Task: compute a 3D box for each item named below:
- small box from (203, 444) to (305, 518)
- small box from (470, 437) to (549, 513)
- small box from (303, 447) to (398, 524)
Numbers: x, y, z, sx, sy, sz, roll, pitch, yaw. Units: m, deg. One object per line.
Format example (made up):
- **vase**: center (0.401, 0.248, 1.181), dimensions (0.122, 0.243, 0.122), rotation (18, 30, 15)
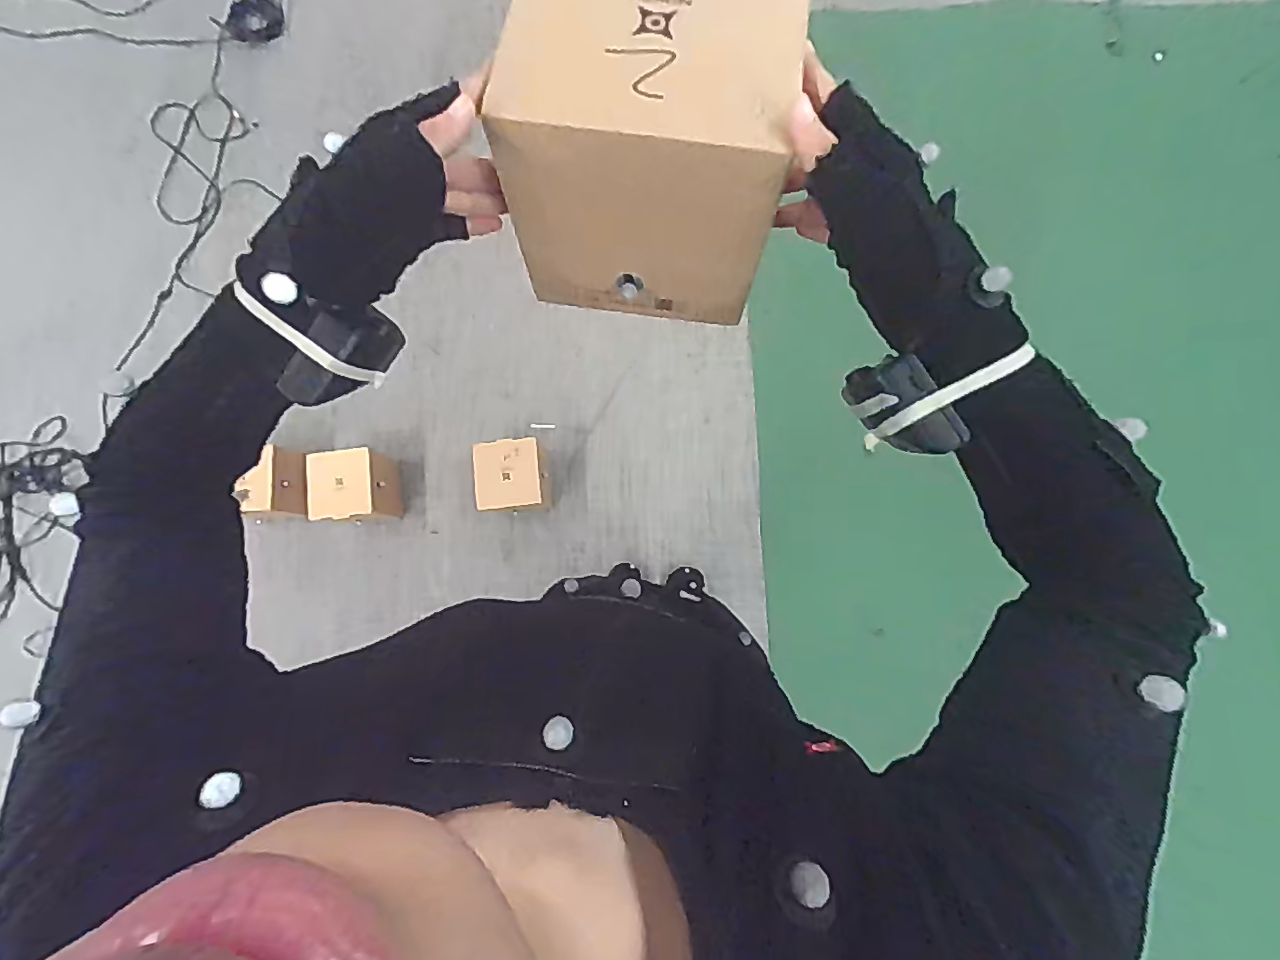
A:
- **small box**: center (-1.024, 0.010, 1.452), dimensions (0.168, 0.176, 0.179), rotation (-5, 81, 0)
- **small box**: center (-0.343, -0.006, 1.444), dimensions (0.168, 0.176, 0.179), rotation (-6, 82, -1)
- **small box**: center (-0.768, 0.019, 1.448), dimensions (0.168, 0.176, 0.179), rotation (-8, 83, 0)
